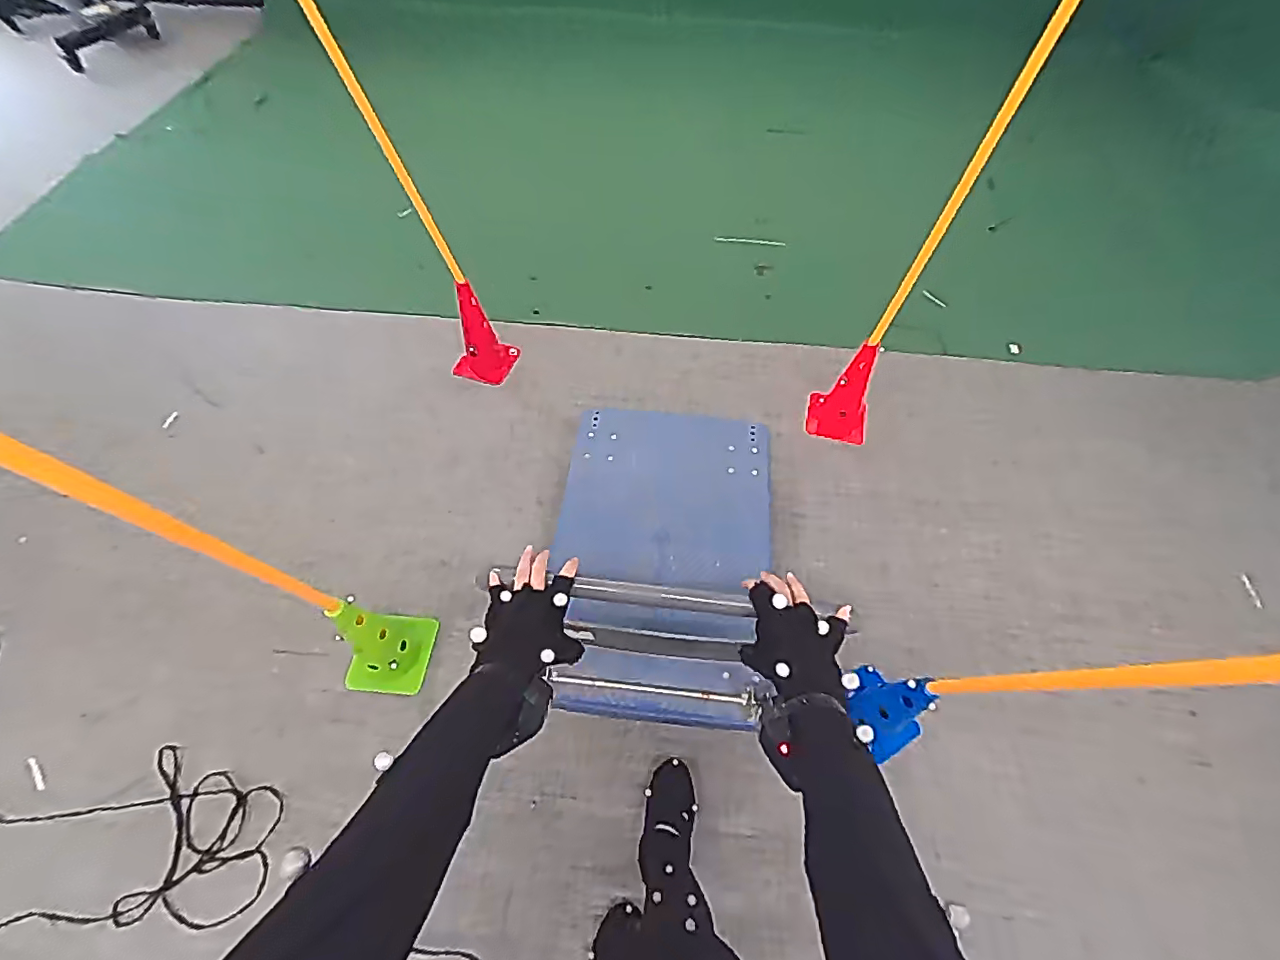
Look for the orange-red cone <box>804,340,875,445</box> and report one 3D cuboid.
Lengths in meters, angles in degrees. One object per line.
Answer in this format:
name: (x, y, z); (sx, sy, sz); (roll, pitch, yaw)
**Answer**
orange-red cone: (0.685, -0.308, 1.757); (0.198, 0.360, 0.199); (14, 59, 9)
